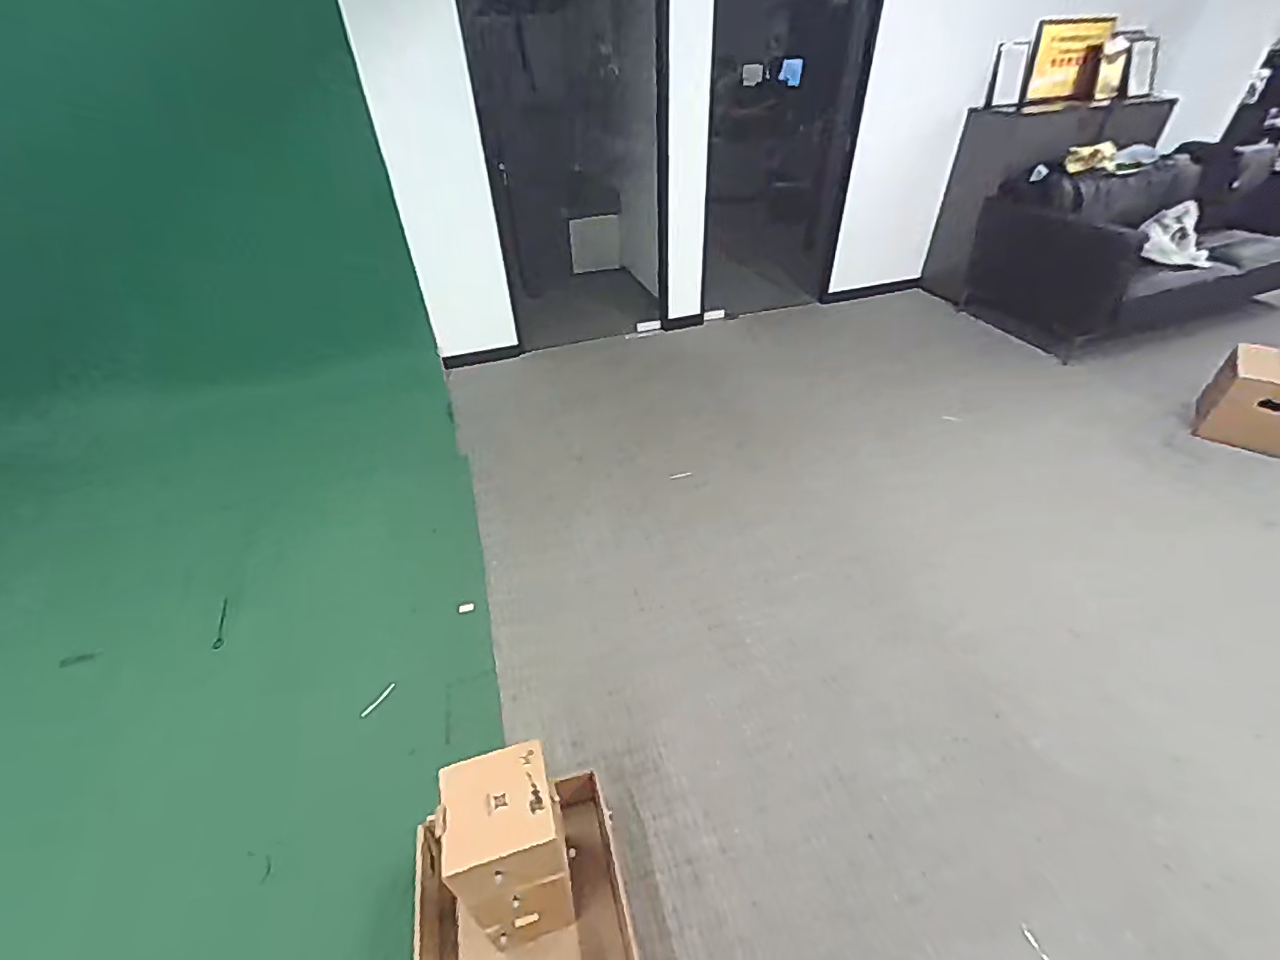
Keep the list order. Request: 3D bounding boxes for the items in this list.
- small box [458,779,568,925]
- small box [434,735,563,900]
[{"bbox_3d":[-0.239,0.708,1.029,0.179,0.176,0.168,-9,40,-12],"label":"small box"},{"bbox_3d":[-0.240,0.579,0.927,0.179,0.176,0.168,-12,40,-13],"label":"small box"}]
